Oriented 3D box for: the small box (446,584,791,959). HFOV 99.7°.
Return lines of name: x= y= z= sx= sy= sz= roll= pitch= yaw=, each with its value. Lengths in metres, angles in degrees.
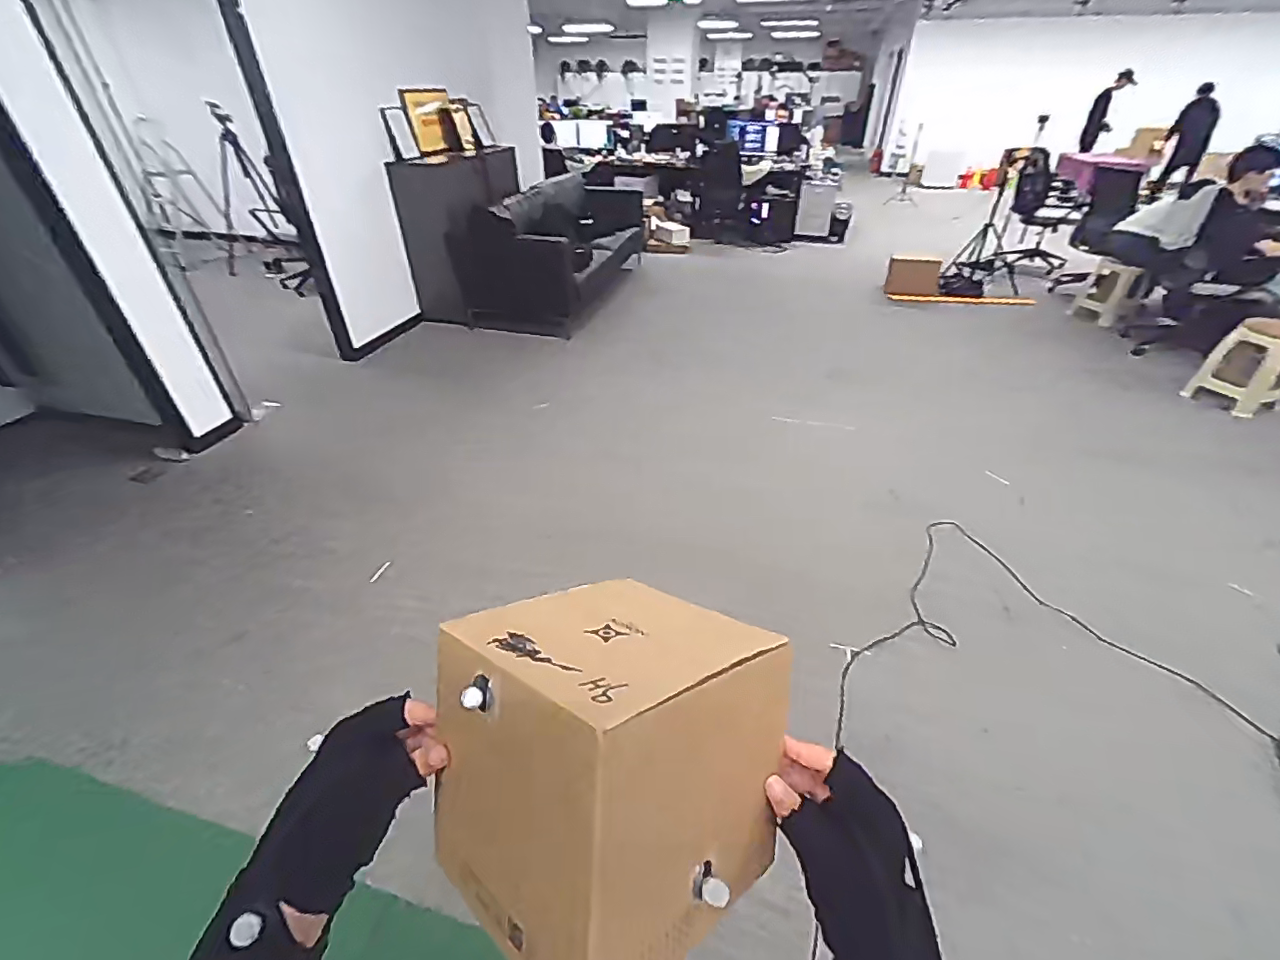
small box: x=-0.018 y=0.185 z=0.376 sx=0.168 sy=0.176 sz=0.179 roll=8 pitch=7 yaw=44
